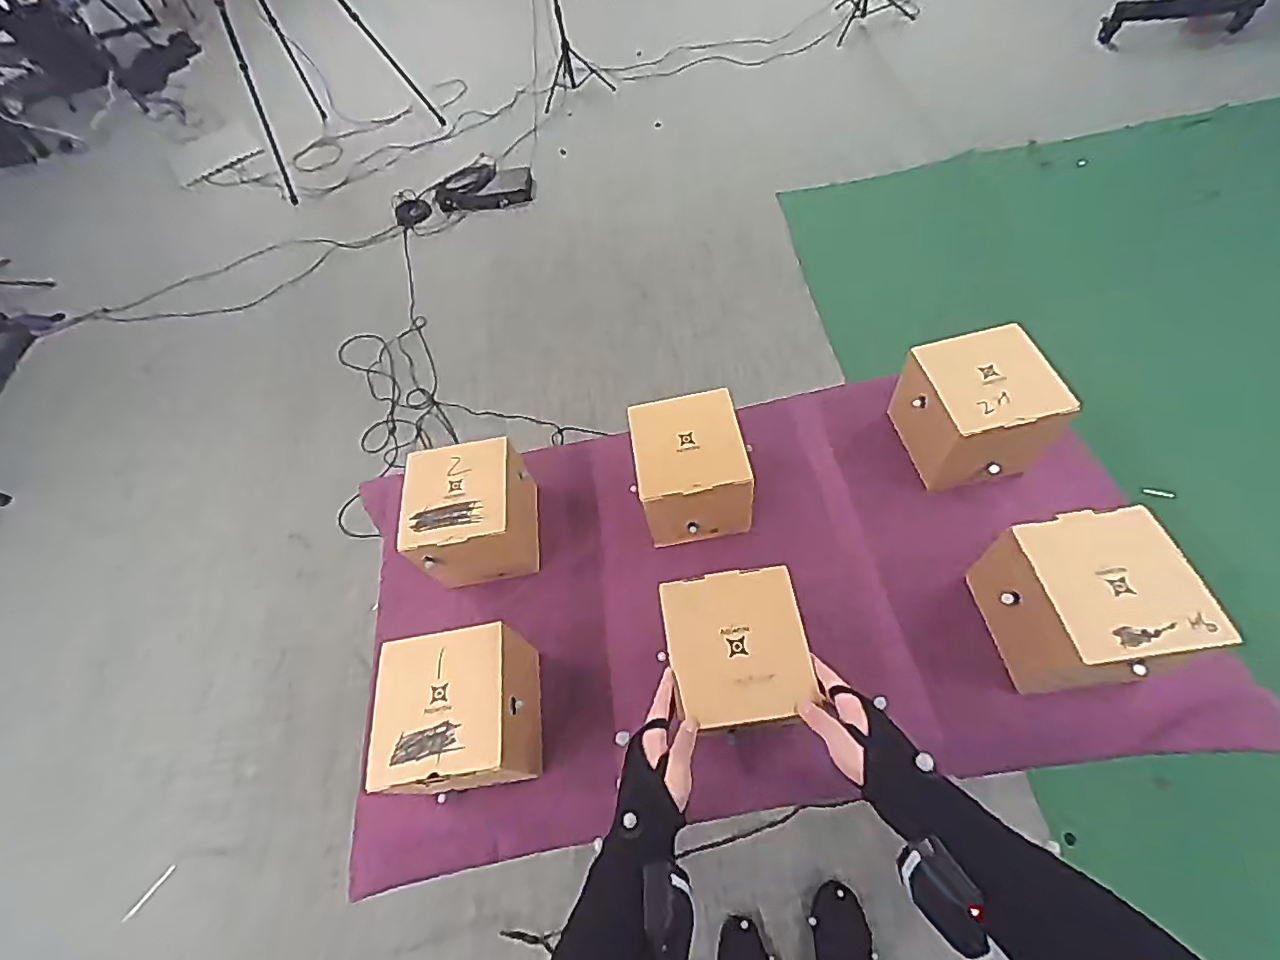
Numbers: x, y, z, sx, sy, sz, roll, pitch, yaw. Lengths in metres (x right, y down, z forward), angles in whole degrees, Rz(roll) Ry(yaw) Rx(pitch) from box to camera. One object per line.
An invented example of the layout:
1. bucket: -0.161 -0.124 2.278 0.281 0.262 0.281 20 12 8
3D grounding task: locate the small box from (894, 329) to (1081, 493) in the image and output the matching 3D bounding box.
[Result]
1. small box: 0.531 -0.104 0.862 0.168 0.176 0.179 -13 58 5

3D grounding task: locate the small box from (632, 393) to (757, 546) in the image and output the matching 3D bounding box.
1. small box: 0.086 -0.013 0.882 0.168 0.176 0.179 -10 59 2

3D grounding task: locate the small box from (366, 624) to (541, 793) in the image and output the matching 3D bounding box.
1. small box: -0.236 0.314 0.729 0.168 0.176 0.179 -10 57 2

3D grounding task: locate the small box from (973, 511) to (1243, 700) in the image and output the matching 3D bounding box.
1. small box: 0.567 0.165 0.693 0.168 0.176 0.179 -10 56 4
